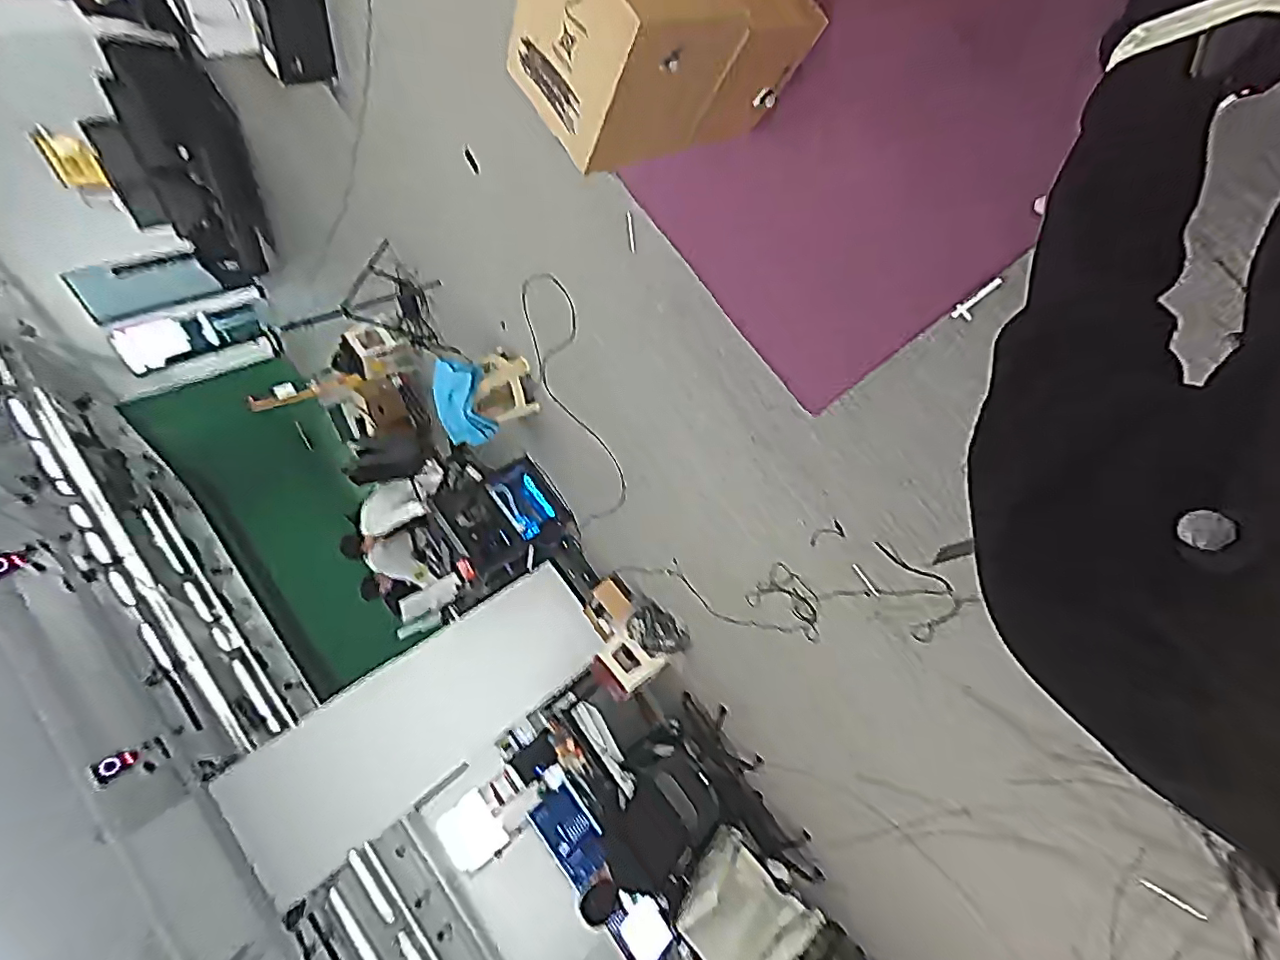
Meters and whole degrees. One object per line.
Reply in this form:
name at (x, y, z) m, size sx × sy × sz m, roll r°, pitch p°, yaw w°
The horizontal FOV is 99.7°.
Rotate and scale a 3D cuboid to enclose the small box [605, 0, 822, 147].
small box at (0.092, -0.573, 0.692) m, size 0.179 × 0.176 × 0.168 m, roll 54°, pitch 150°, yaw 1°
